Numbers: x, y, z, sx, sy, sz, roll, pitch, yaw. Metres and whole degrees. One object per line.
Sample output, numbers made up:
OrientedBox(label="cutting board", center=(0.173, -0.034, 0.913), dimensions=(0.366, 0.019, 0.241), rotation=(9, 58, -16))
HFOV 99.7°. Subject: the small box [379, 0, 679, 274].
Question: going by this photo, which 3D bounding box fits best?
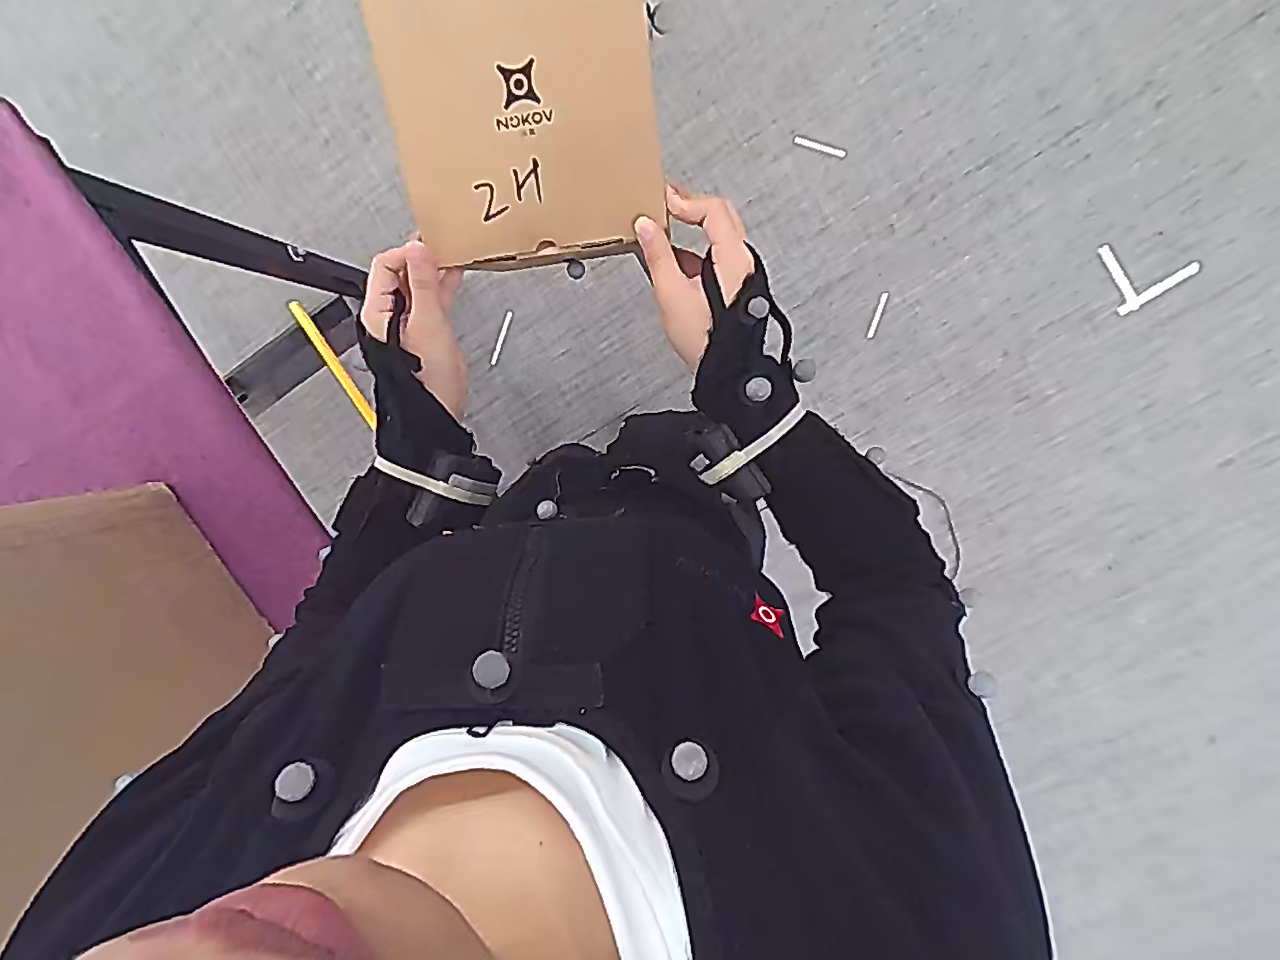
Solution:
OrientedBox(label="small box", center=(-0.062, -0.263, 0.412), dimensions=(0.168, 0.176, 0.179), rotation=(-7, 109, 7))
